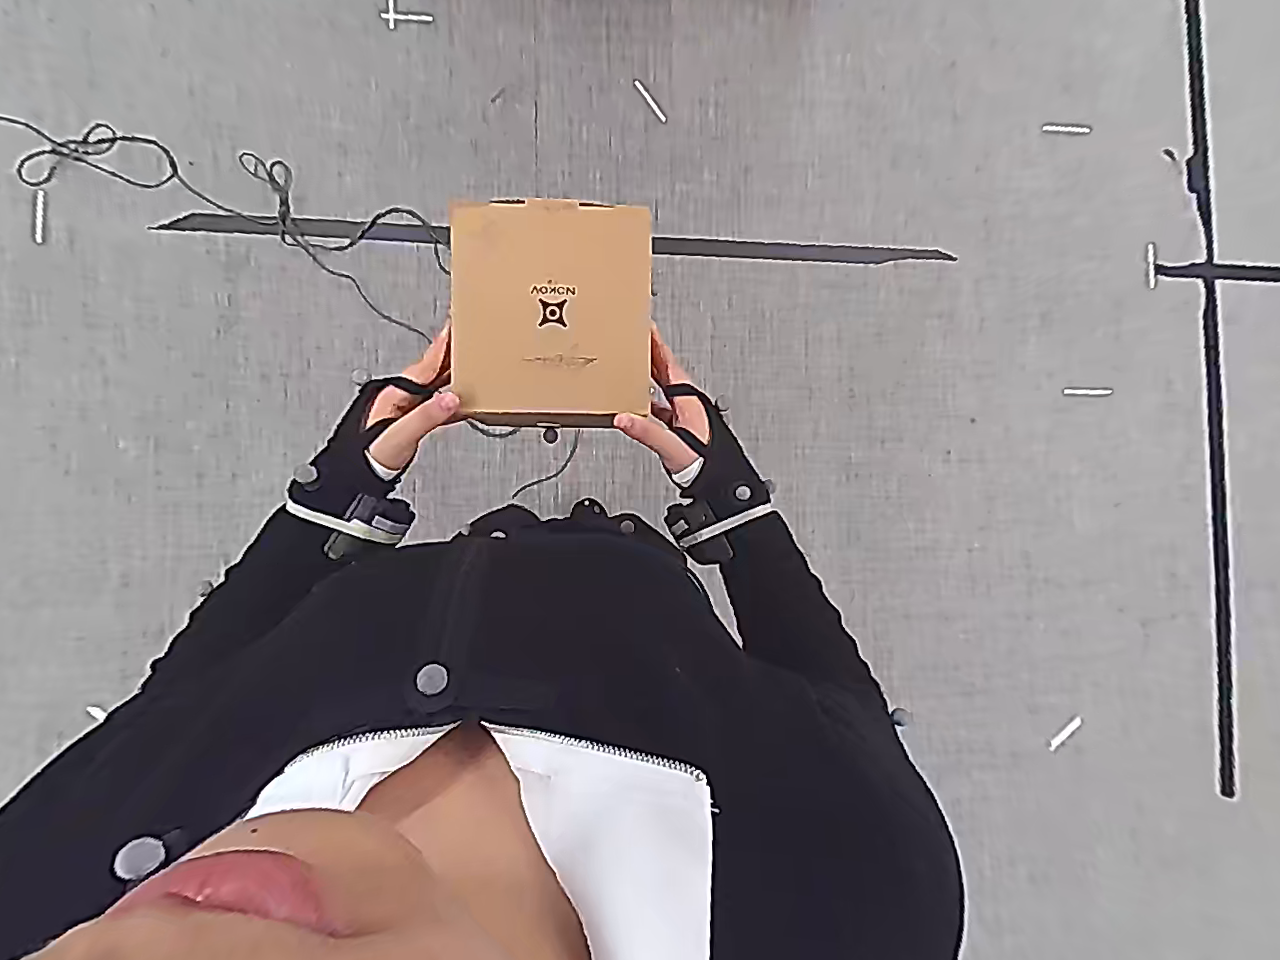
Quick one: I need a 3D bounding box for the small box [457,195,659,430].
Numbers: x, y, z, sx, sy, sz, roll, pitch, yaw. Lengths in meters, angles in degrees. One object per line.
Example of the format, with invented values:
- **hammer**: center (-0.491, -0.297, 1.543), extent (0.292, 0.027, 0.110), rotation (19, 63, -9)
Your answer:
- **small box**: center (-0.073, -0.145, 0.526), extent (0.168, 0.176, 0.179), rotation (0, 91, -4)
